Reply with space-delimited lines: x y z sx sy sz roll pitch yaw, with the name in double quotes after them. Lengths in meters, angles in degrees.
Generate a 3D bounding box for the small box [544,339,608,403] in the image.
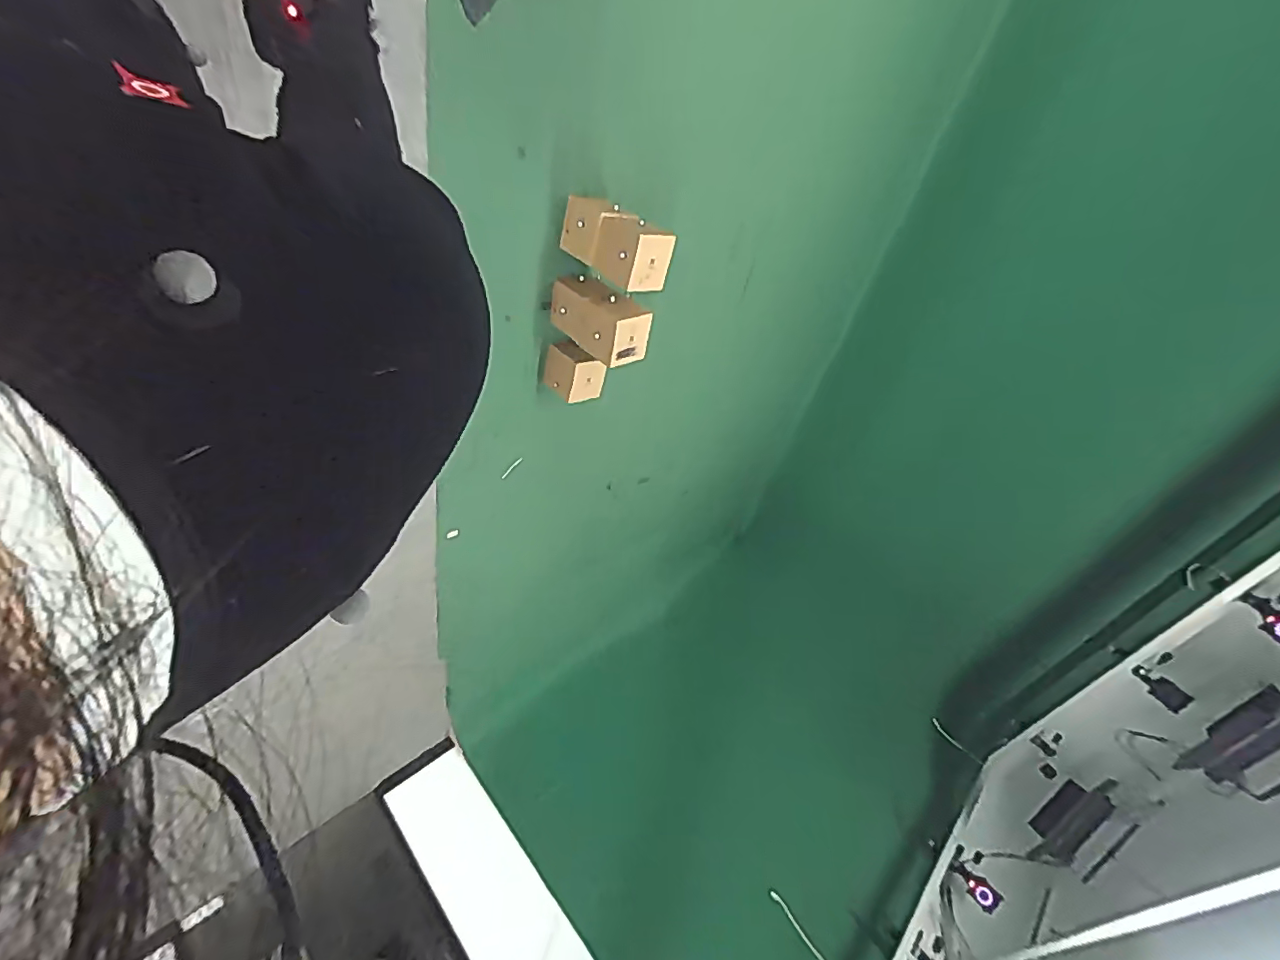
-0.253 -0.424 2.093 0.168 0.176 0.179 -21 140 -43 "small box"

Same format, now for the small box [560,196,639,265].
-0.138 -0.816 1.776 0.179 0.176 0.168 -20 140 -44 "small box"

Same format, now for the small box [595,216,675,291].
-0.022 -0.718 1.711 0.168 0.176 0.179 -21 140 -43 "small box"
